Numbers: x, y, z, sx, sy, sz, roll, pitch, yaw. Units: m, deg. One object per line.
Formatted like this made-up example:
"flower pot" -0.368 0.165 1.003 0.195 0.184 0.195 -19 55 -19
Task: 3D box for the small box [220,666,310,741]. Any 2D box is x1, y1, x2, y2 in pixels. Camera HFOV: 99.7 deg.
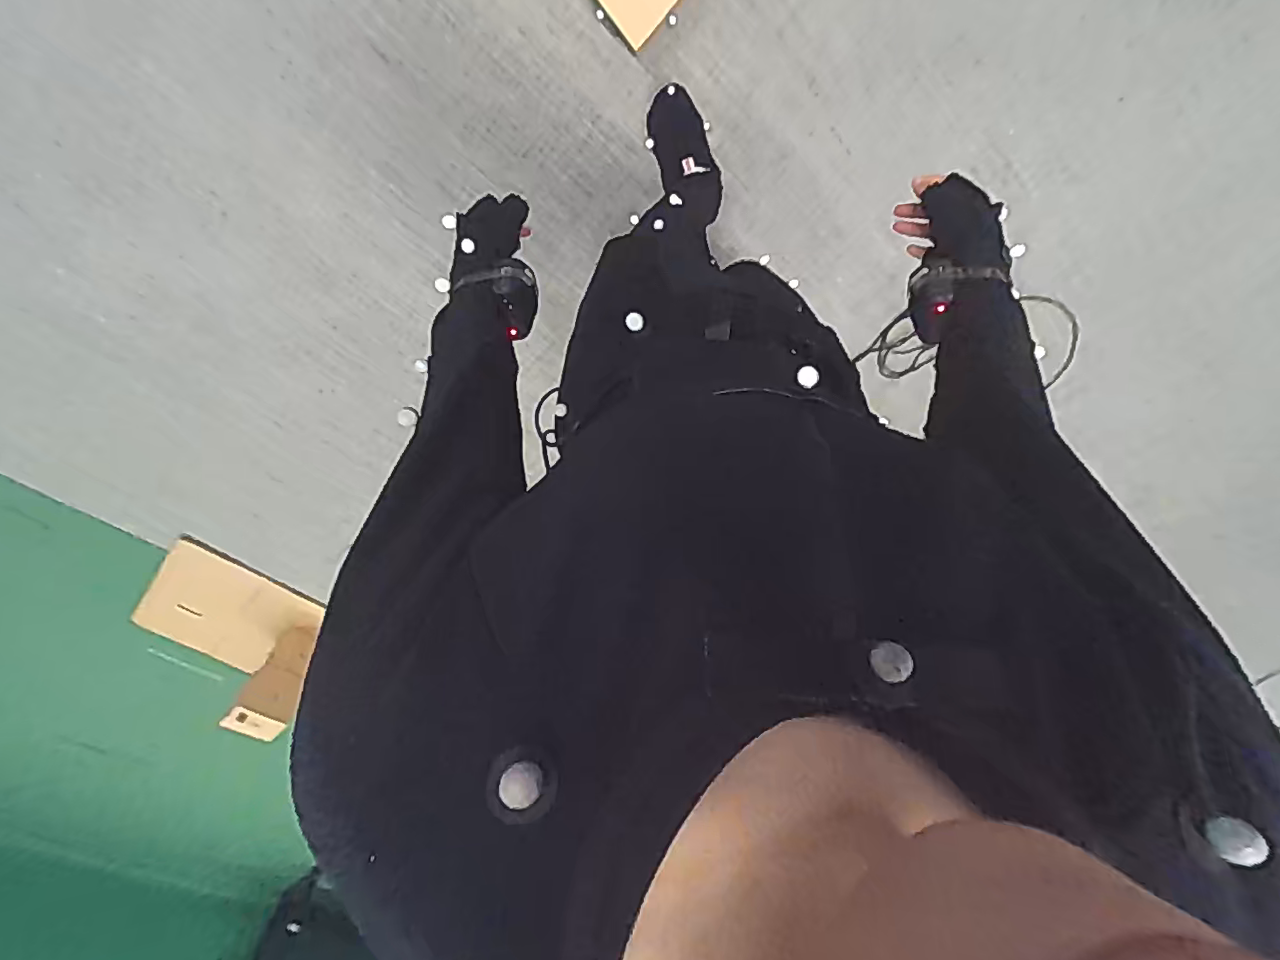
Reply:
"small box" -1.327 0.789 1.923 0.168 0.176 0.179 -38 119 24

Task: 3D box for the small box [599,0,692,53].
"small box" 0.010 -0.878 0.927 0.179 0.176 0.168 -37 117 24
